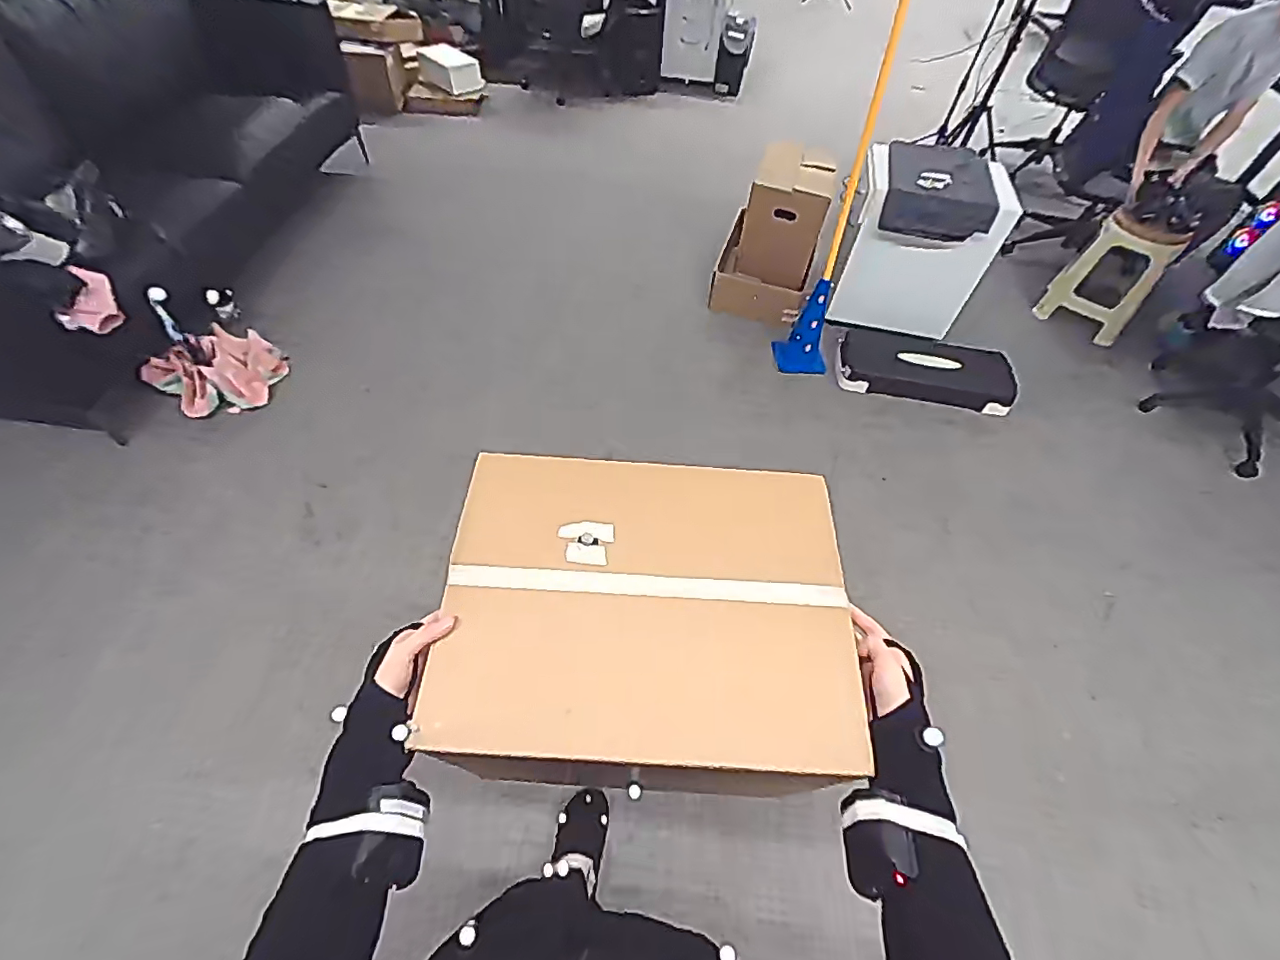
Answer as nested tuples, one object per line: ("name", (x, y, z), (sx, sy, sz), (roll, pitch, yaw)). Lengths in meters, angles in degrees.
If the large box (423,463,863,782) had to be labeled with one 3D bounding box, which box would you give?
("large box", (0.007, 0.195, 0.687), (0.408, 0.320, 0.320), (3, 56, 0))
